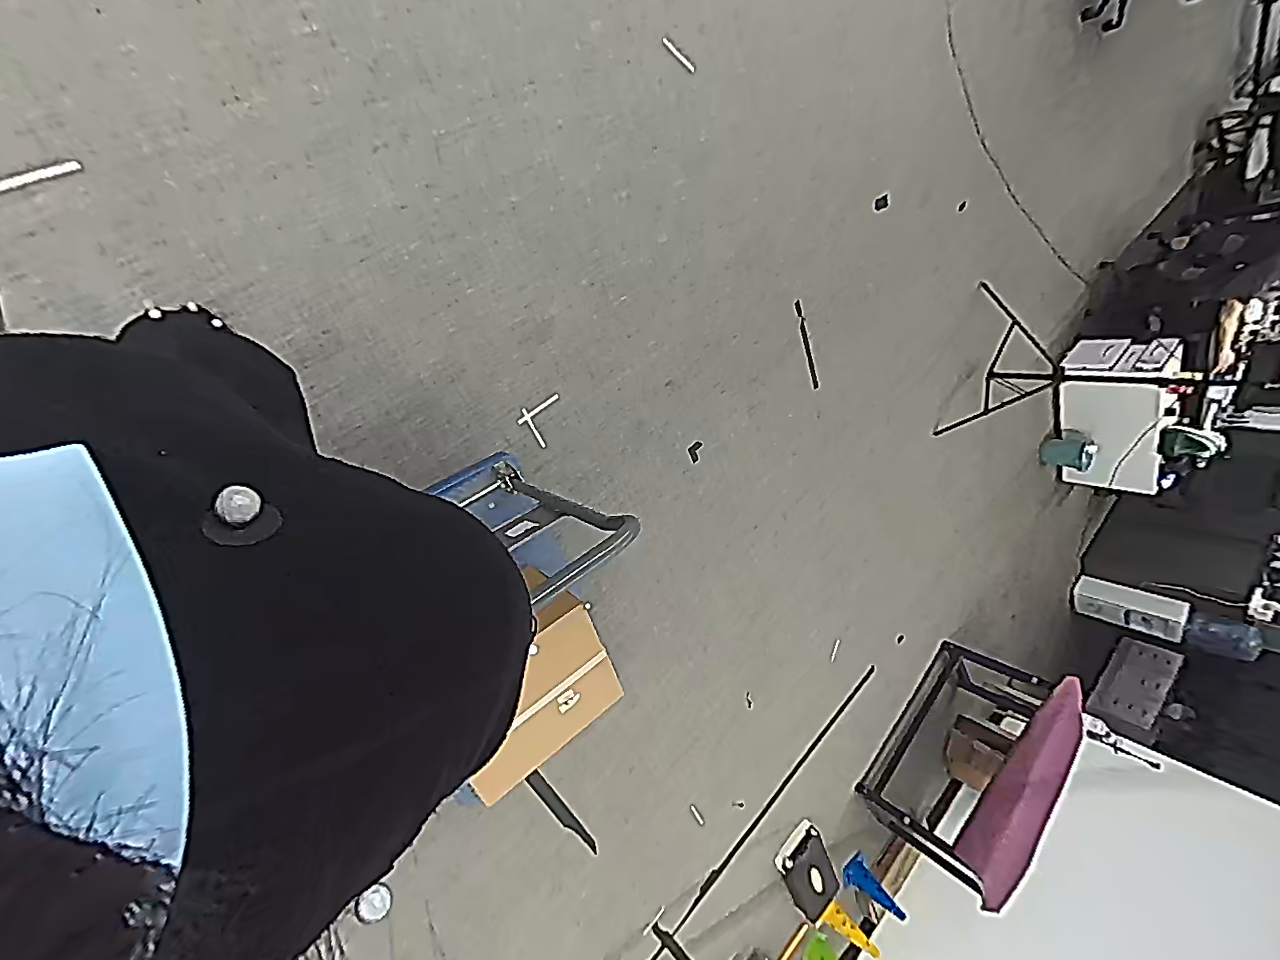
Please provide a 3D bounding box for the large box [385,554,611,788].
[{"bbox_3d":[-0.354,0.452,1.371,0.408,0.320,0.320,-33,119,-27],"label":"large box"}]
